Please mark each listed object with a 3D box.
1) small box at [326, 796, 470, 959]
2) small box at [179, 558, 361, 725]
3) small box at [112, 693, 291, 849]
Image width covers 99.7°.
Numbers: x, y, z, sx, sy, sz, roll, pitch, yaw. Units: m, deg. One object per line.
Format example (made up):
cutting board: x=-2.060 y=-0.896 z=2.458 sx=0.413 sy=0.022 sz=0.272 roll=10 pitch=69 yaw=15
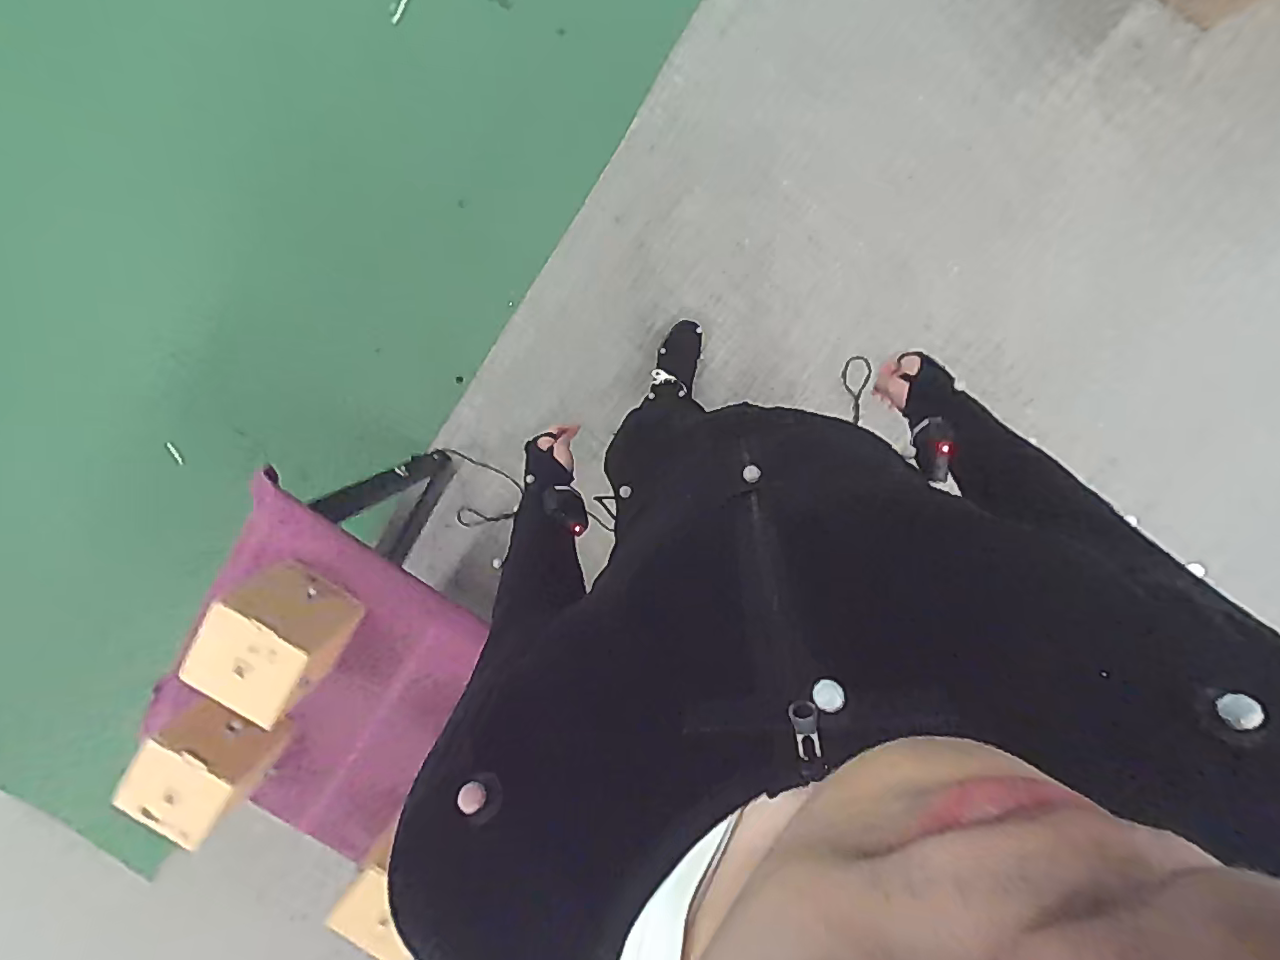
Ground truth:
small box: x=-0.445 y=0.758 z=1.038 sx=0.168 sy=0.176 sz=0.179 roll=38 pitch=104 yaw=-4
small box: x=-0.620 y=0.268 z=0.928 sx=0.168 sy=0.176 sz=0.179 roll=34 pitch=105 yaw=-6
small box: x=-0.797 y=0.518 z=1.005 sx=0.168 sy=0.176 sz=0.179 roll=36 pitch=101 yaw=-4
